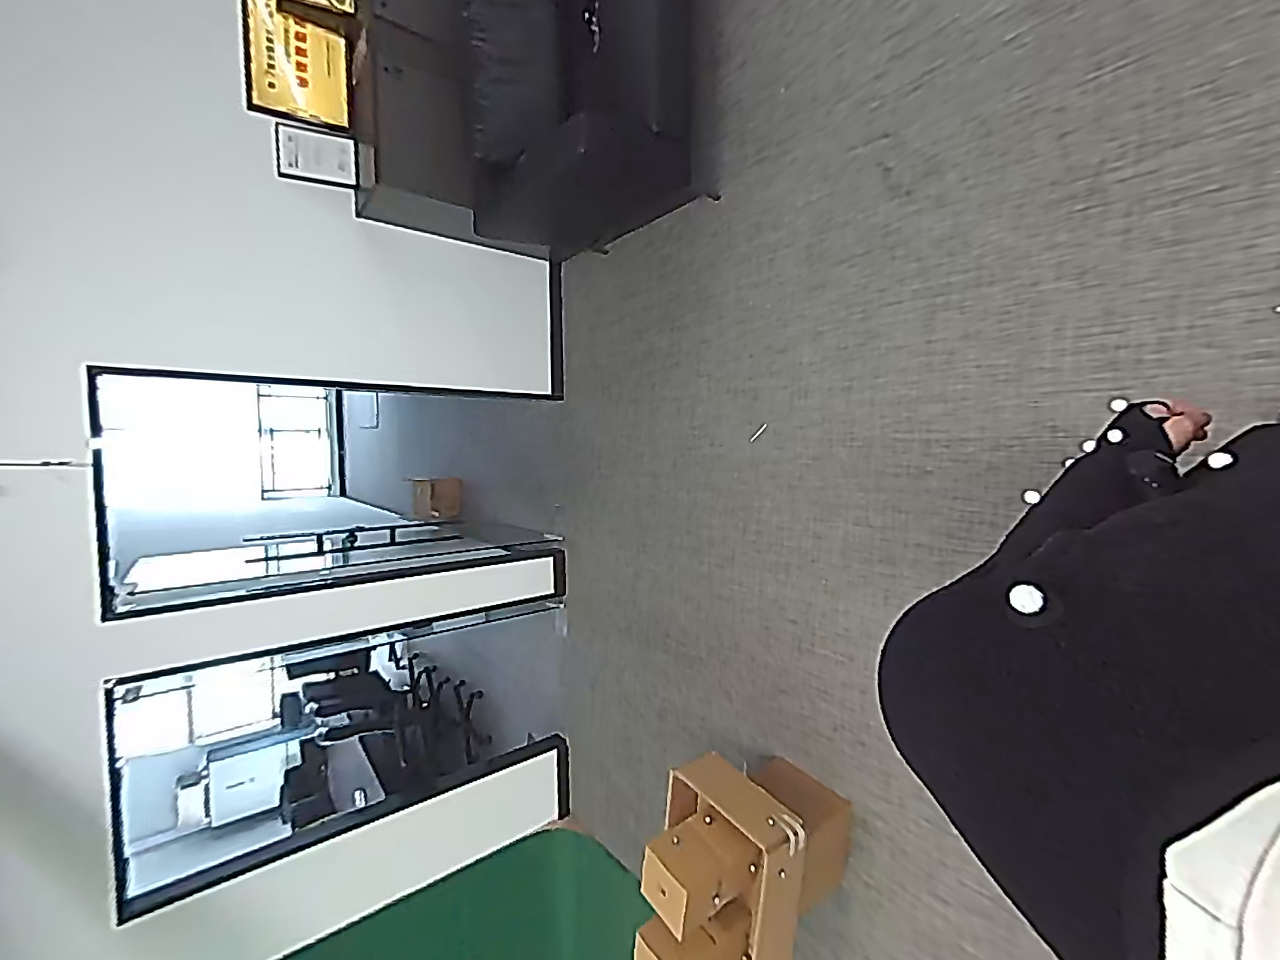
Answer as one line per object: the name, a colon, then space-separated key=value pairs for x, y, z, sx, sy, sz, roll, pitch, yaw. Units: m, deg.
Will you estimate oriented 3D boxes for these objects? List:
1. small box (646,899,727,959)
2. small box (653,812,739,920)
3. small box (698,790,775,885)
small box: x=0.138 y=1.402 z=1.638 sx=0.179 sy=0.176 sz=0.168 roll=12 pitch=103 yaw=52
small box: x=0.162 y=1.117 z=1.586 sx=0.179 sy=0.176 sz=0.168 roll=21 pitch=110 yaw=50
small box: x=0.291 y=1.104 z=1.684 sx=0.179 sy=0.176 sz=0.168 roll=23 pitch=111 yaw=50
